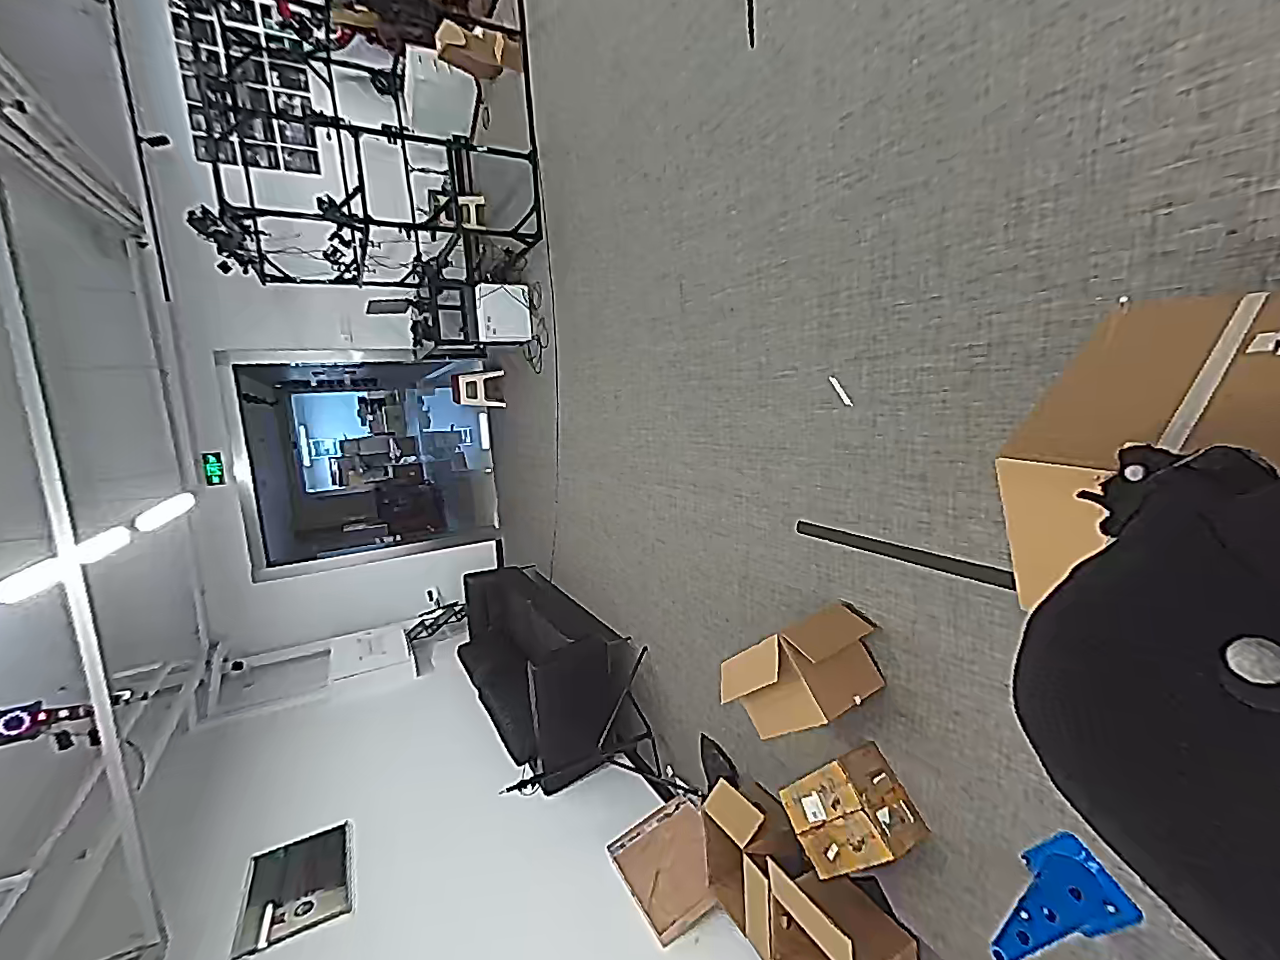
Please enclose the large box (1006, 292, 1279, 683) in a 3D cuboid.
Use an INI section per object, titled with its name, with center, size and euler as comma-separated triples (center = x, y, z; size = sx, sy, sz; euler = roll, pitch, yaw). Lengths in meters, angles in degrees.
[large box]
center = 0.763, -0.010, 0.727
size = 0.320, 0.408, 0.320
euler = 18, 143, 53
